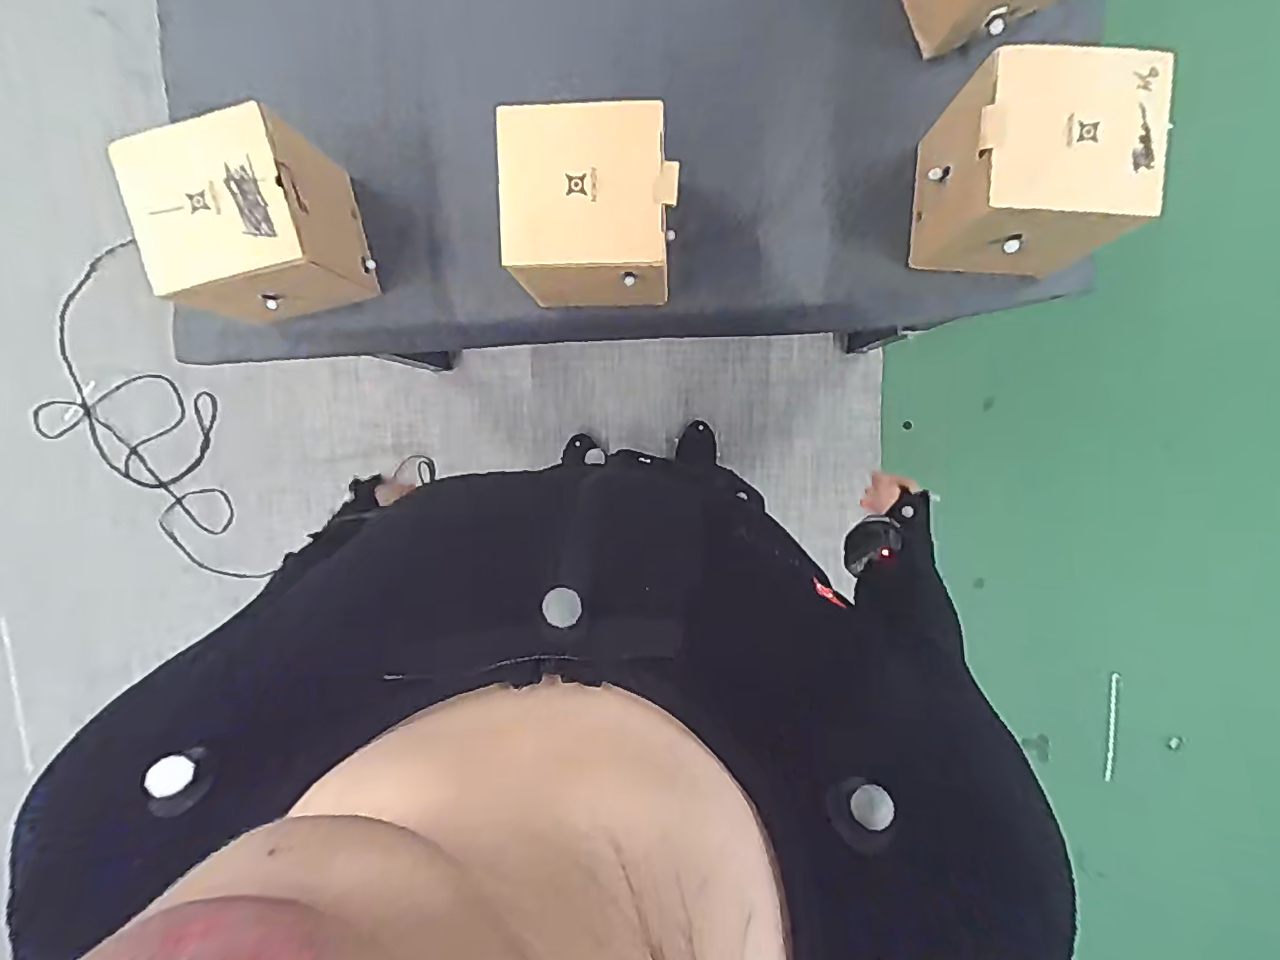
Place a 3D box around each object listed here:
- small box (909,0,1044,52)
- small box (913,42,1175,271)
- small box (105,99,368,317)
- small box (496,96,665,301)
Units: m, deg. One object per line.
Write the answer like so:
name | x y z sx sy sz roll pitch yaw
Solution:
small box | 0.402 -0.637 0.593 0.168 0.176 0.179 -24 97 7
small box | 0.439 -0.352 0.618 0.179 0.176 0.168 4 92 2
small box | -0.457 -0.307 0.649 0.179 0.176 0.168 -13 96 3
small box | -0.059 -0.316 0.641 0.179 0.176 0.168 -1 95 2
